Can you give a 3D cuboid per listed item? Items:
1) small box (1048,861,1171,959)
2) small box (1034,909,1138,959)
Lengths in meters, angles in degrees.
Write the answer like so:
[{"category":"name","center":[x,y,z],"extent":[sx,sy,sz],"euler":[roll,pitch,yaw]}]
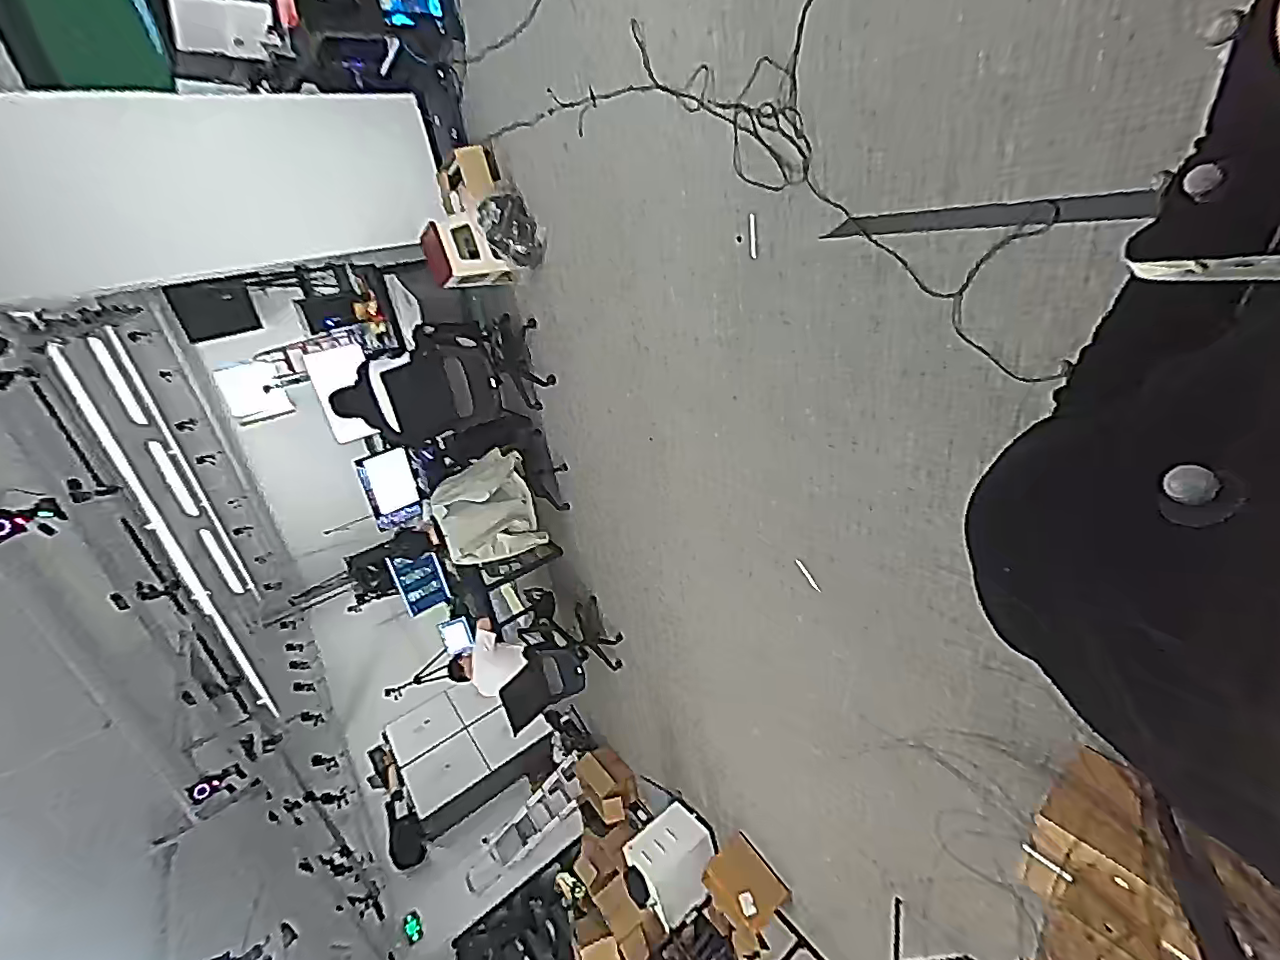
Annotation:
[{"category":"small box","center":[1.123,1.078,1.298],"extent":[0.179,0.176,0.168],"euler":[24,130,50]},{"category":"small box","center":[0.996,1.131,1.211],"extent":[0.168,0.176,0.179],"euler":[24,129,49]}]
